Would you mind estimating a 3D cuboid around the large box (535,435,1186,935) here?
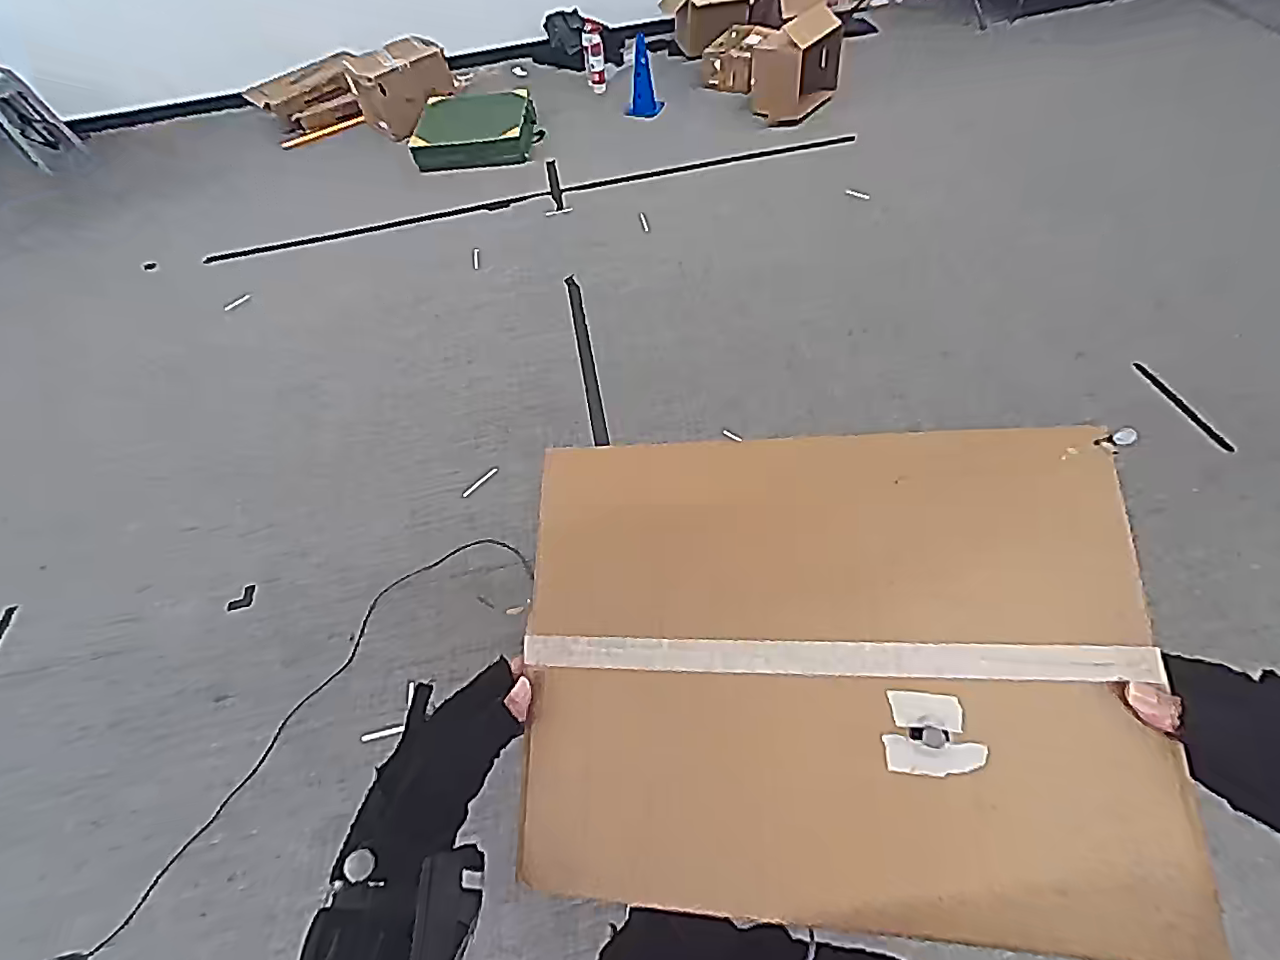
[{"bbox_3d":[0.145,0.167,0.524,0.408,0.320,0.320,-3,75,11],"label":"large box"}]
